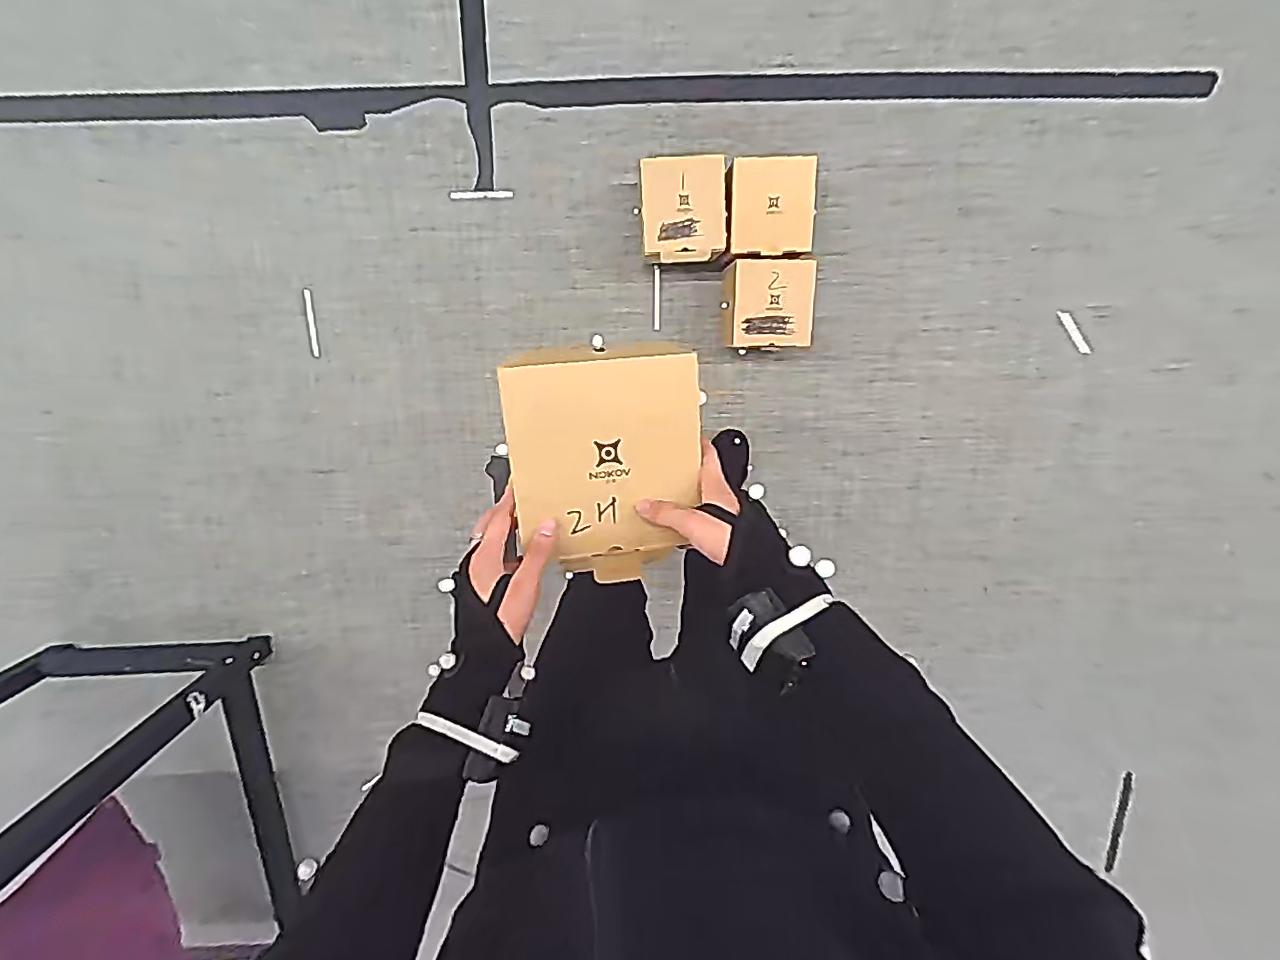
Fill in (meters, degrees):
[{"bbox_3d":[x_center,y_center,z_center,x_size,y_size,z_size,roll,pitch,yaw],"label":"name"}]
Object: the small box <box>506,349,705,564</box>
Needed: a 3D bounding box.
[{"bbox_3d":[-0.036,-0.037,0.540,0.168,0.176,0.179,-6,108,-7],"label":"small box"}]
